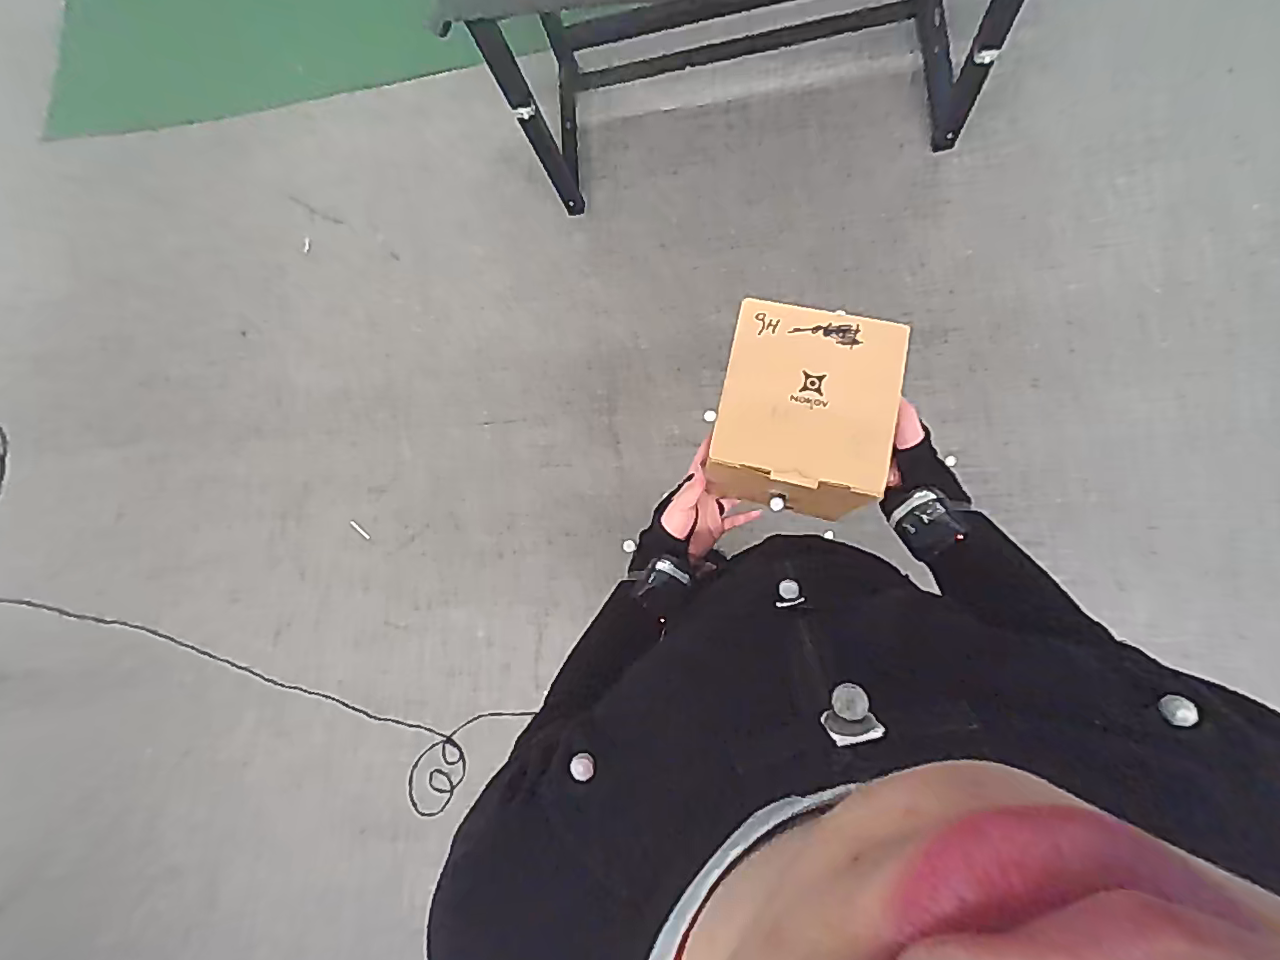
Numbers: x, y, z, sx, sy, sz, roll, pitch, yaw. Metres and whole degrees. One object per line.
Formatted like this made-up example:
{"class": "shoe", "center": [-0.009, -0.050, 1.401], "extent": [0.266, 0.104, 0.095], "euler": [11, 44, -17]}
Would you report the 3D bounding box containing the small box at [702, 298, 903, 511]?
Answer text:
{"class": "small box", "center": [0.167, -0.071, 0.603], "extent": [0.168, 0.176, 0.179], "euler": [12, 80, 7]}
